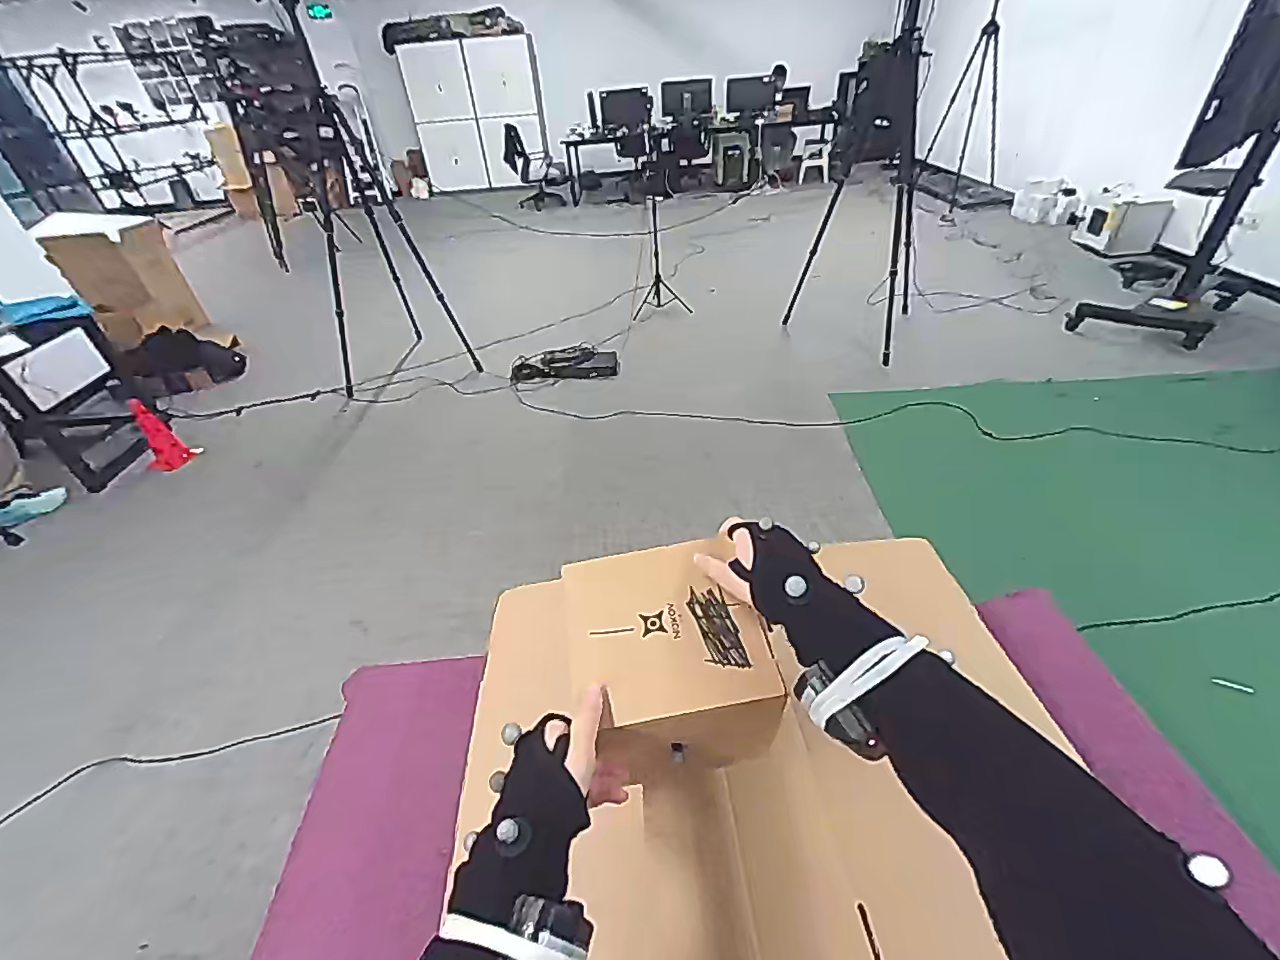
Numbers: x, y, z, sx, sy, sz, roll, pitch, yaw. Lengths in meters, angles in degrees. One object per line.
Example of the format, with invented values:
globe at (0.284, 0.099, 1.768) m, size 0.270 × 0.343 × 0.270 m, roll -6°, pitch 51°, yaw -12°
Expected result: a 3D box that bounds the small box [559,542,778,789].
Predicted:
small box at (0.024, 0.189, 0.546) m, size 0.179 × 0.176 × 0.168 m, roll -11°, pitch 47°, yaw -2°
